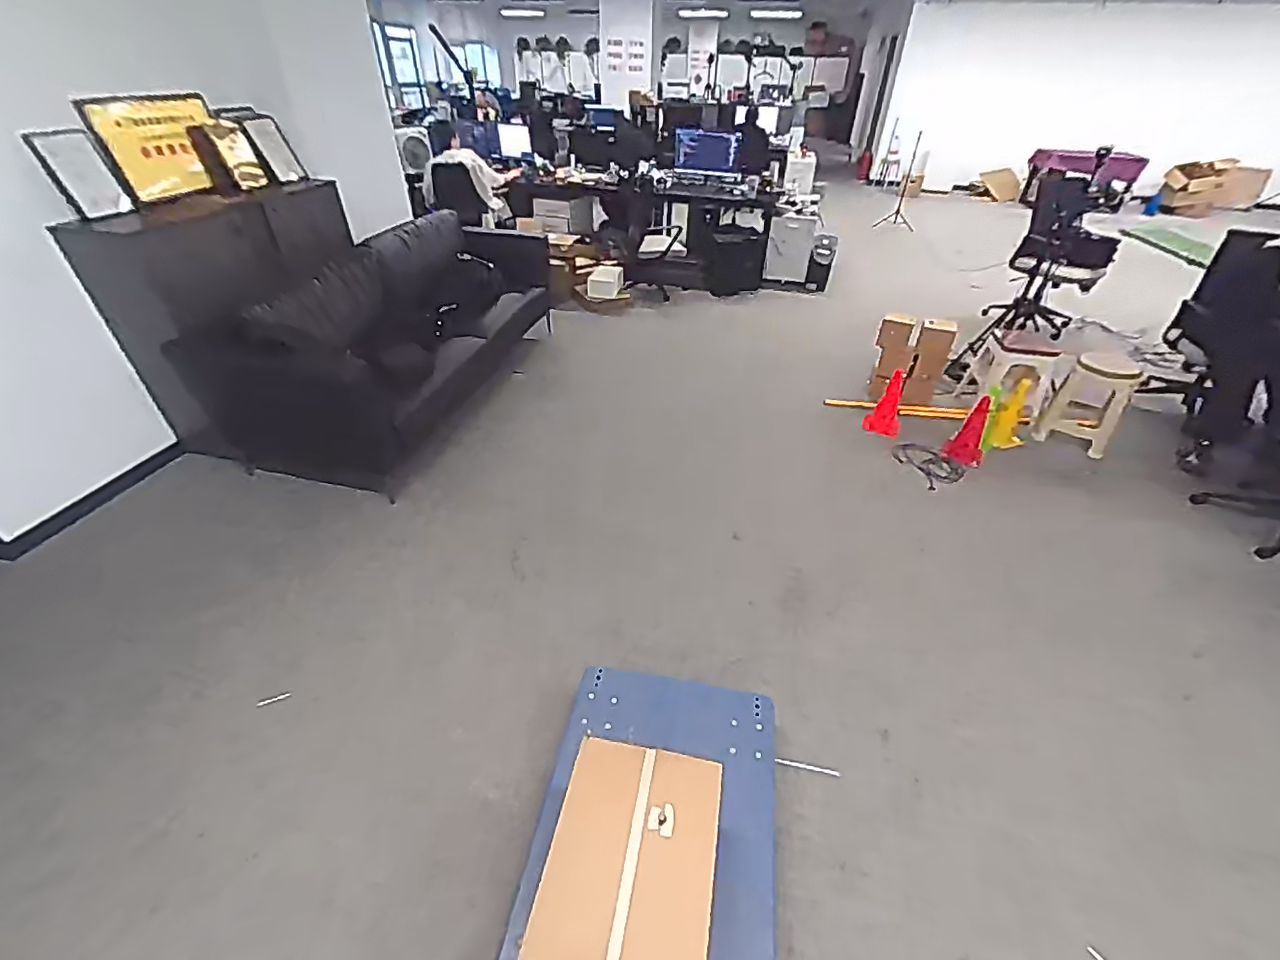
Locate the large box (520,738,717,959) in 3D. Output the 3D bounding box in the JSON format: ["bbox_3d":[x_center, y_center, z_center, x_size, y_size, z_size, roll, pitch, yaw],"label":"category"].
[{"bbox_3d":[-0.019,0.828,1.118,0.320,0.320,0.408,8,37,8],"label":"large box"}]
